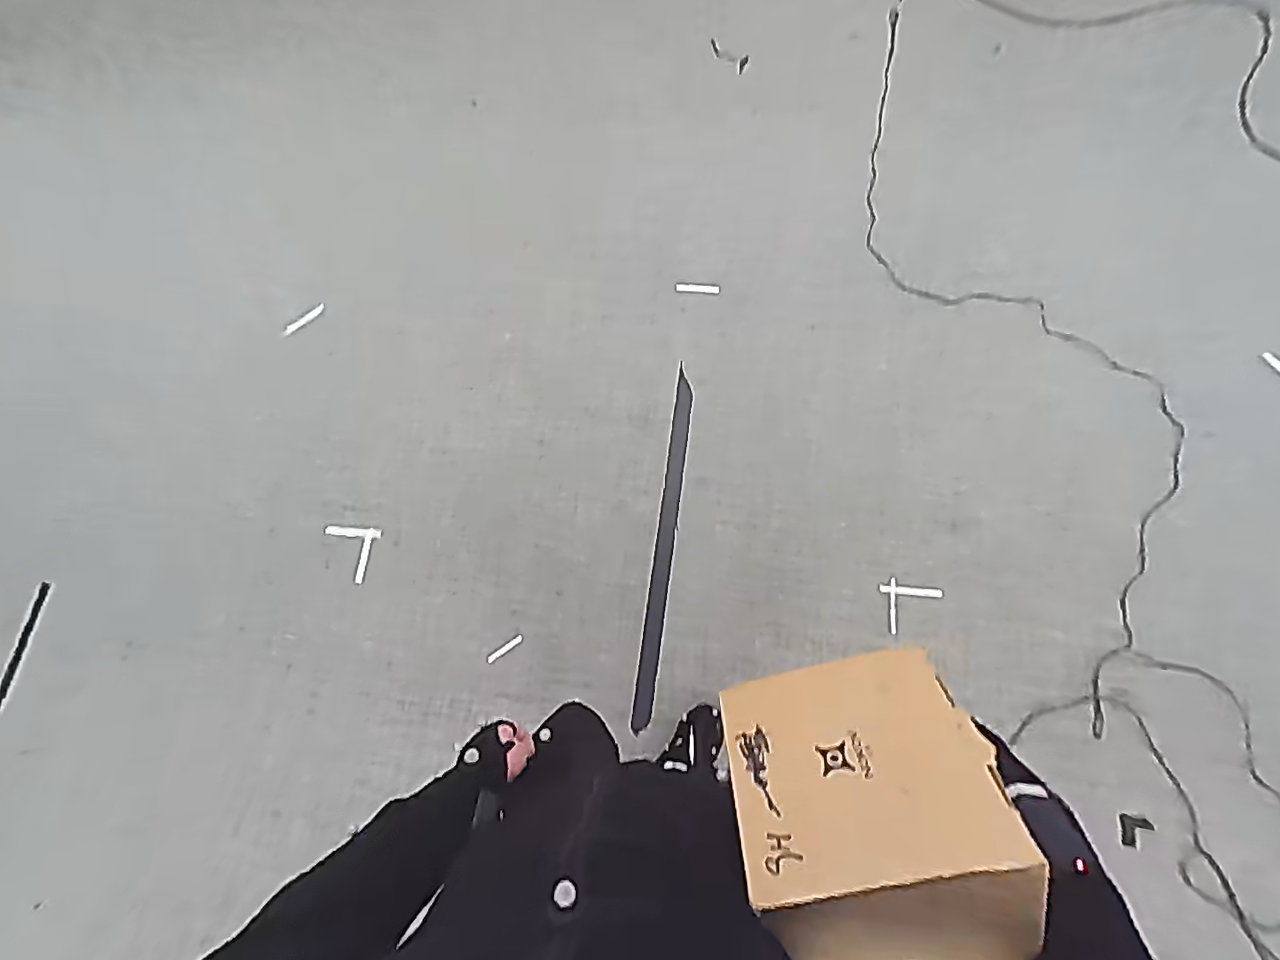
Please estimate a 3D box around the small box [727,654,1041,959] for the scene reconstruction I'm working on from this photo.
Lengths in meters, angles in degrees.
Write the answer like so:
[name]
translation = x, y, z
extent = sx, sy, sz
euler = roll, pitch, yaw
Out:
[small box]
translation = 0.184, 0.278, 0.443
extent = 0.179, 0.176, 0.168
euler = -17, 28, 9
